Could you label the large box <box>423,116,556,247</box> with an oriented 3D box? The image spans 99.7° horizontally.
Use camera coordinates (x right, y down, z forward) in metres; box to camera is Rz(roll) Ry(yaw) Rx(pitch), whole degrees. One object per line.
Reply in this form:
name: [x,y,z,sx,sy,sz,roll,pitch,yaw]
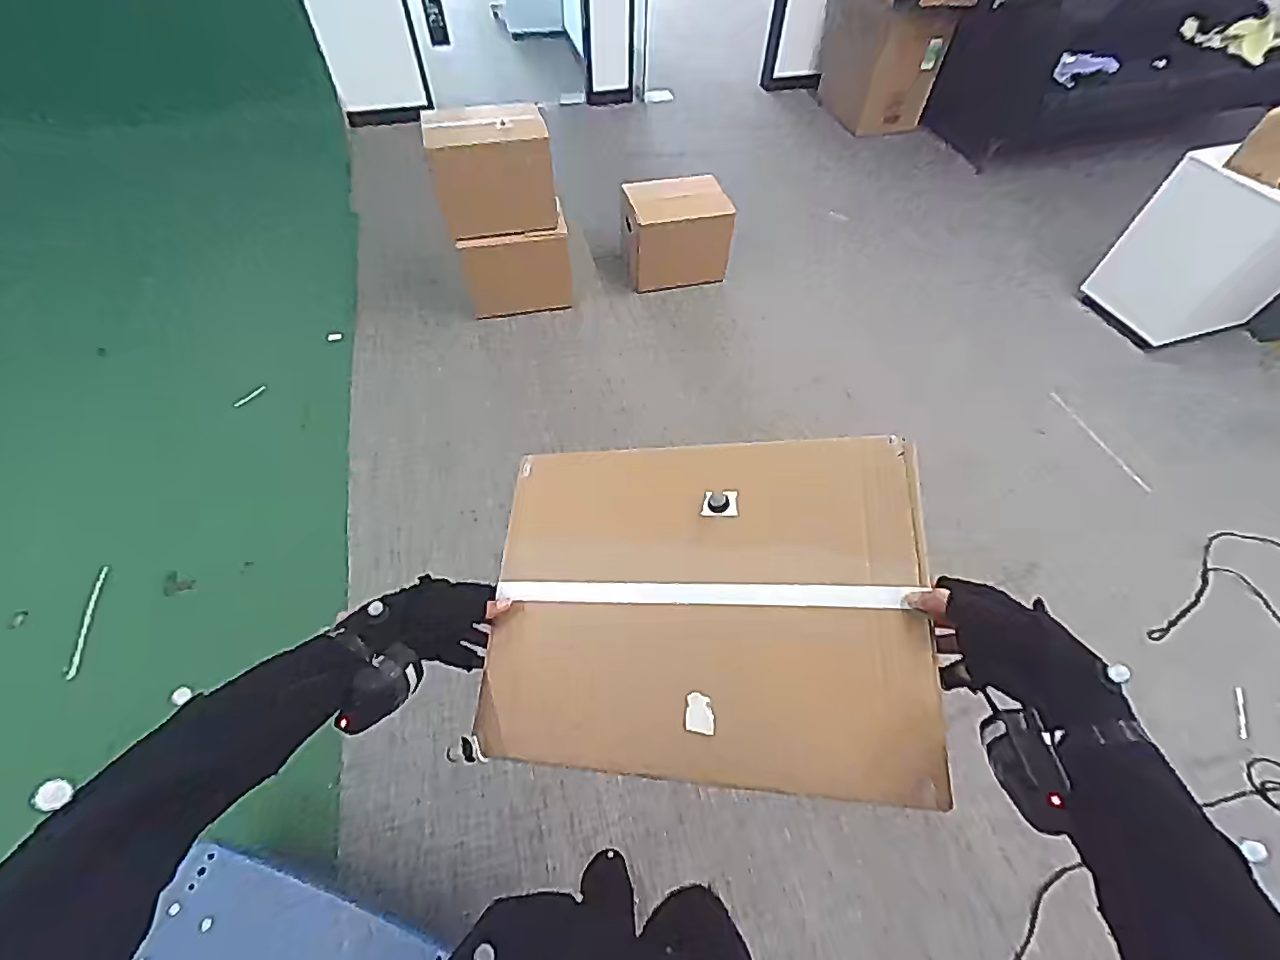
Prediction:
large box: [-0.536,-1.078,1.952,0.408,0.320,0.320,-11,53,-11]
